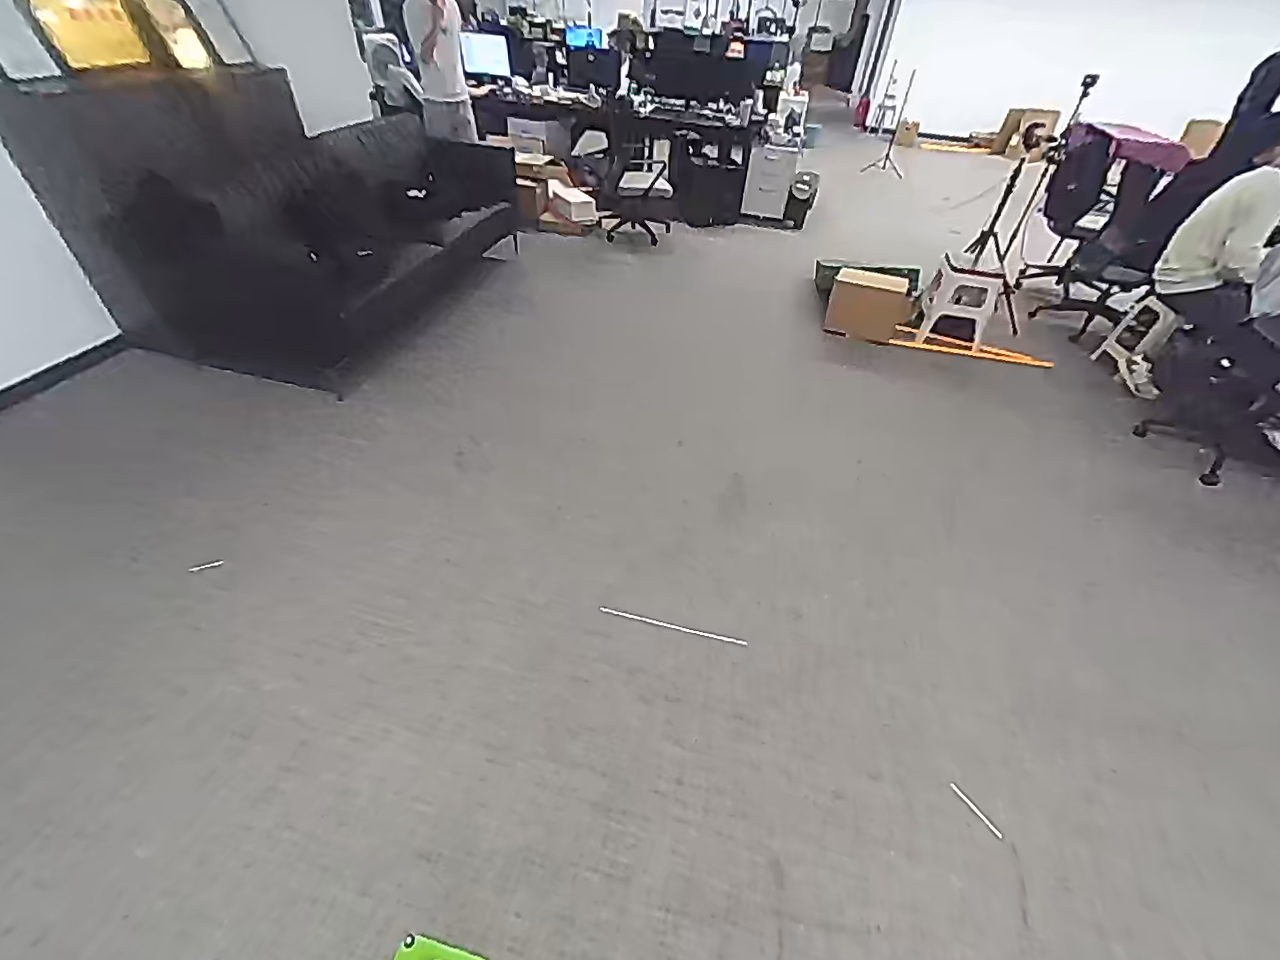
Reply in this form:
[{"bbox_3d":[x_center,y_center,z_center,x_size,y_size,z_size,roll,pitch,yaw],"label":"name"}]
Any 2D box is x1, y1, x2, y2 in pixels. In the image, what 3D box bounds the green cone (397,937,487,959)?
[{"bbox_3d":[-0.399,0.907,0.931,0.202,0.368,0.200,12,43,7],"label":"green cone"}]
